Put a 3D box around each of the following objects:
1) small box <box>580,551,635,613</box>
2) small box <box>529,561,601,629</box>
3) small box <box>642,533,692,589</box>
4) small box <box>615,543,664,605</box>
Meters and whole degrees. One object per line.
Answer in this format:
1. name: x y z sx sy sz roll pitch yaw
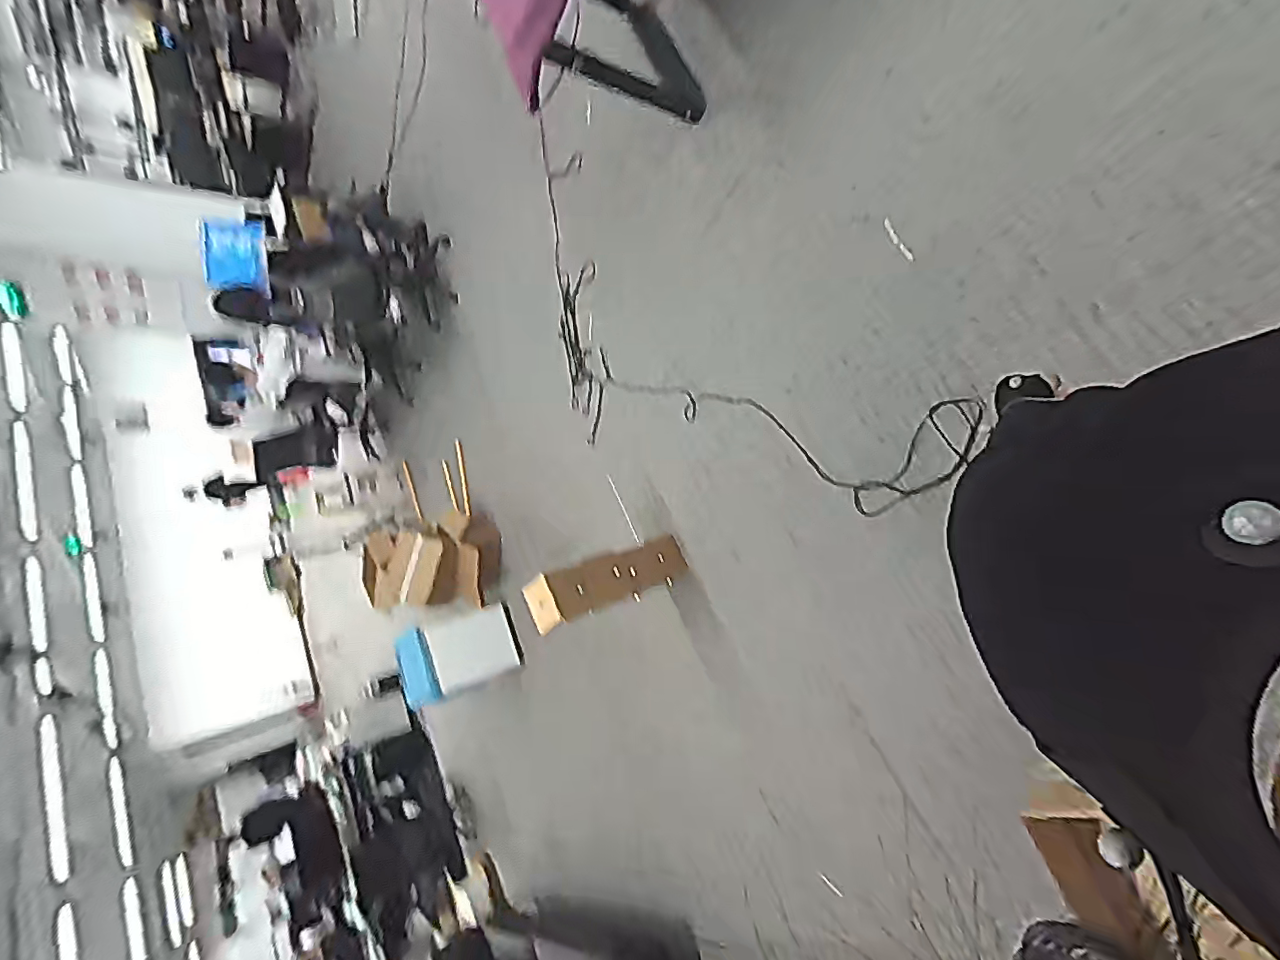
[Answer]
1. small box: -0.148 0.382 2.041 0.168 0.176 0.179 -44 64 44
2. small box: -0.267 0.408 1.932 0.179 0.176 0.168 -44 65 43
3. small box: 0.089 0.340 2.264 0.168 0.176 0.179 -42 65 45
4. small box: -0.031 0.371 2.156 0.168 0.176 0.179 -41 67 44
